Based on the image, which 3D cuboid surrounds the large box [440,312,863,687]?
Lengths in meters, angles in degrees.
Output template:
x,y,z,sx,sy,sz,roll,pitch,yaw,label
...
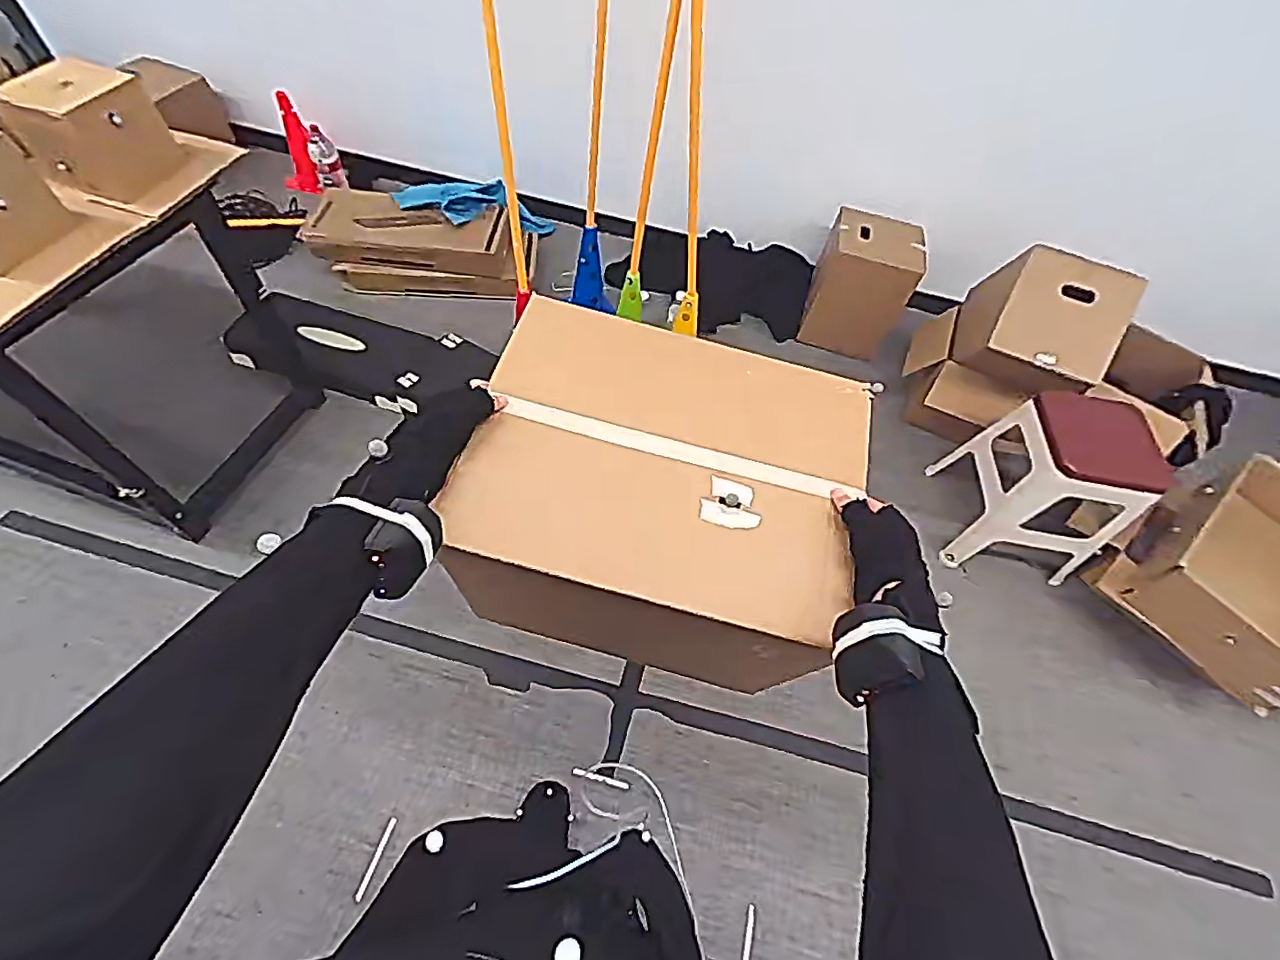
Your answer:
x,y,z,sx,sy,sz,roll,pitch,yaw,label
0.019,0.046,0.699,0.408,0.320,0.320,16,63,1,large box
